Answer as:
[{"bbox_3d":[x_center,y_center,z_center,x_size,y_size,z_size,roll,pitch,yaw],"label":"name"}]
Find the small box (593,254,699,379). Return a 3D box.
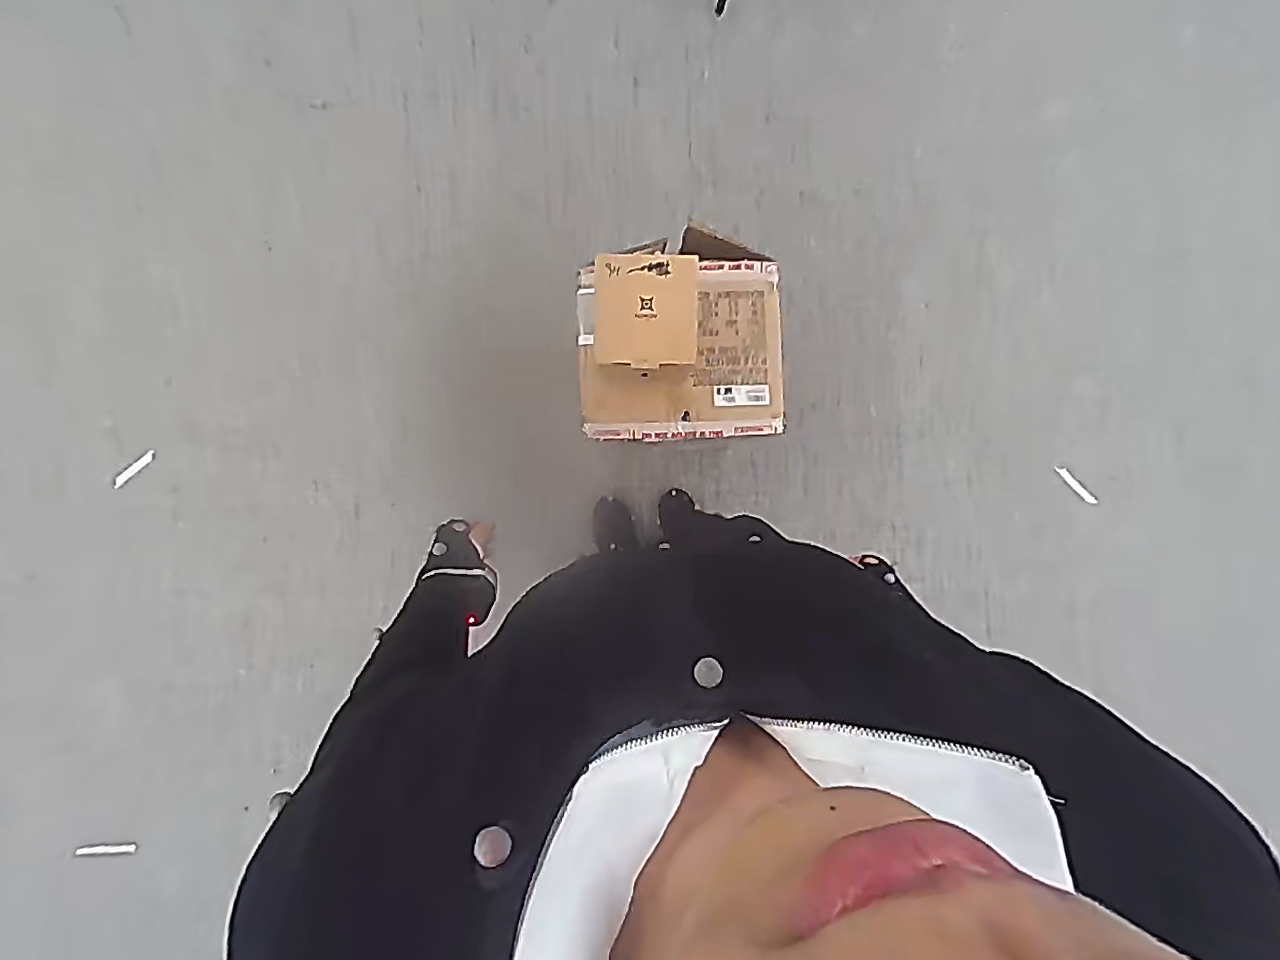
[{"bbox_3d":[0.010,-0.270,0.927,0.168,0.176,0.179,1,92,0],"label":"small box"}]
